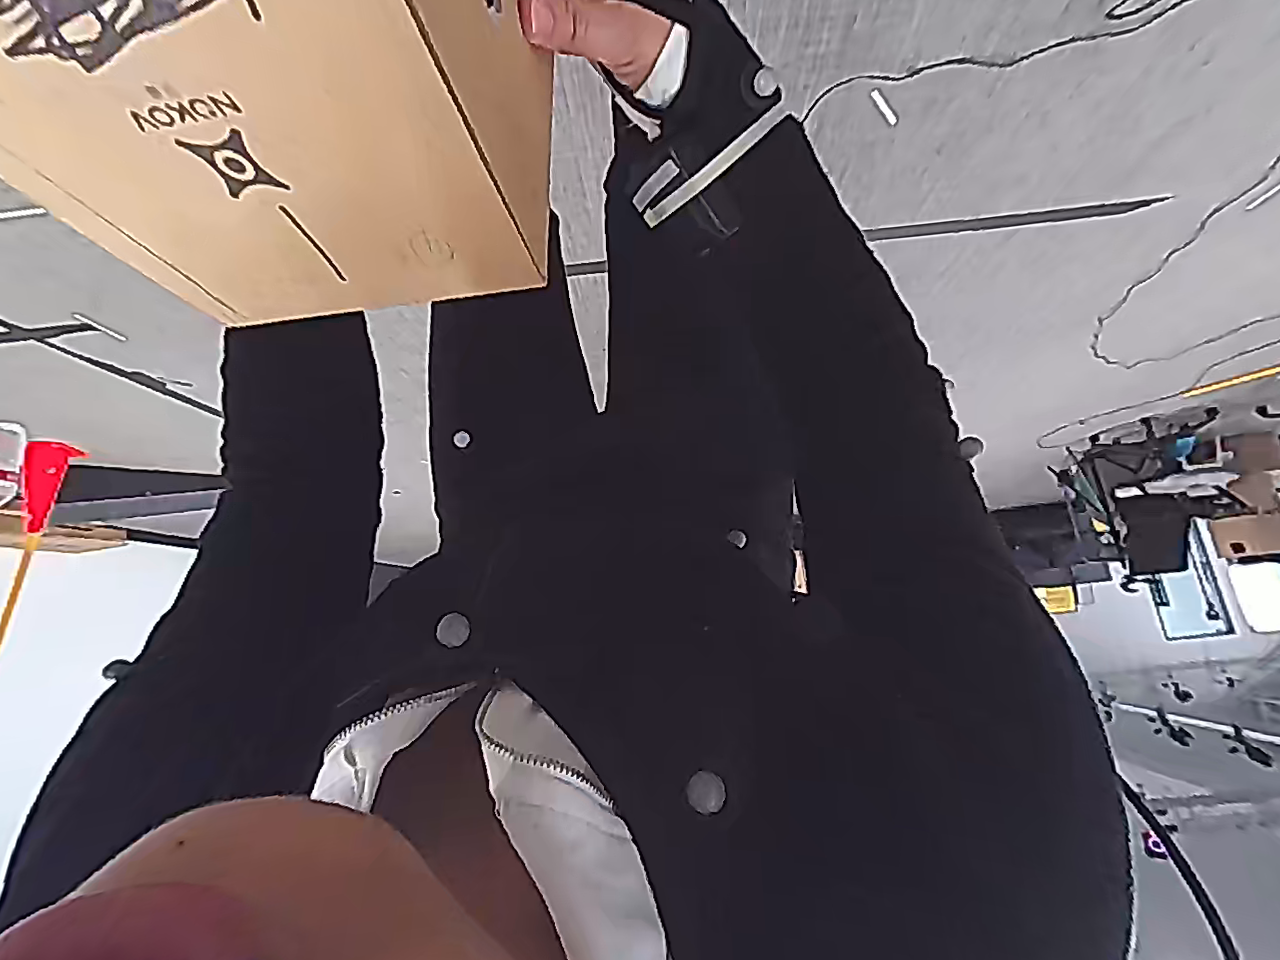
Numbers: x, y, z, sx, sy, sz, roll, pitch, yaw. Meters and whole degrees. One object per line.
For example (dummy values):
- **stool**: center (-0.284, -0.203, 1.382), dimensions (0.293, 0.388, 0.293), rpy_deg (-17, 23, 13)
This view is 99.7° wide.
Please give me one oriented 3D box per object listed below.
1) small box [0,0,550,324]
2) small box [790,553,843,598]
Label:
- **small box**: center (-0.138, -0.188, 0.205), dimensions (0.168, 0.176, 0.179), rpy_deg (-5, 162, 7)
- **small box**: center (0.731, 0.398, 2.259), dimensions (0.168, 0.176, 0.179), rpy_deg (-6, 167, 4)
